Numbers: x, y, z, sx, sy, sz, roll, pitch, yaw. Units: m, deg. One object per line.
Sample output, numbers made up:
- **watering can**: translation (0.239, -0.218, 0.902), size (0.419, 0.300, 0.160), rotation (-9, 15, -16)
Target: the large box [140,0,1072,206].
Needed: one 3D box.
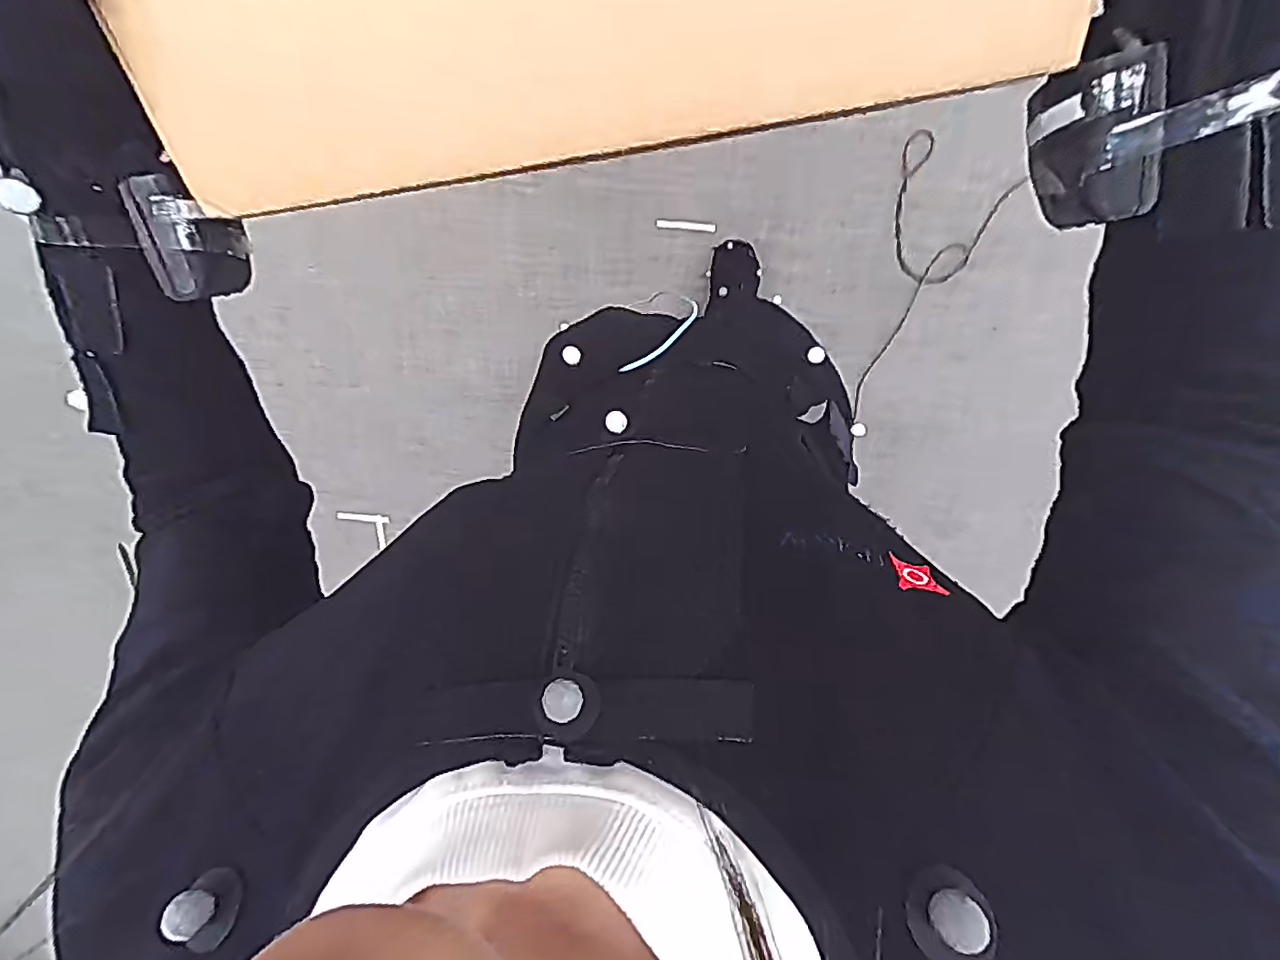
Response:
- **large box**: translation (-0.030, -0.372, 0.305), size (0.408, 0.320, 0.320), rotation (-5, 122, 9)
